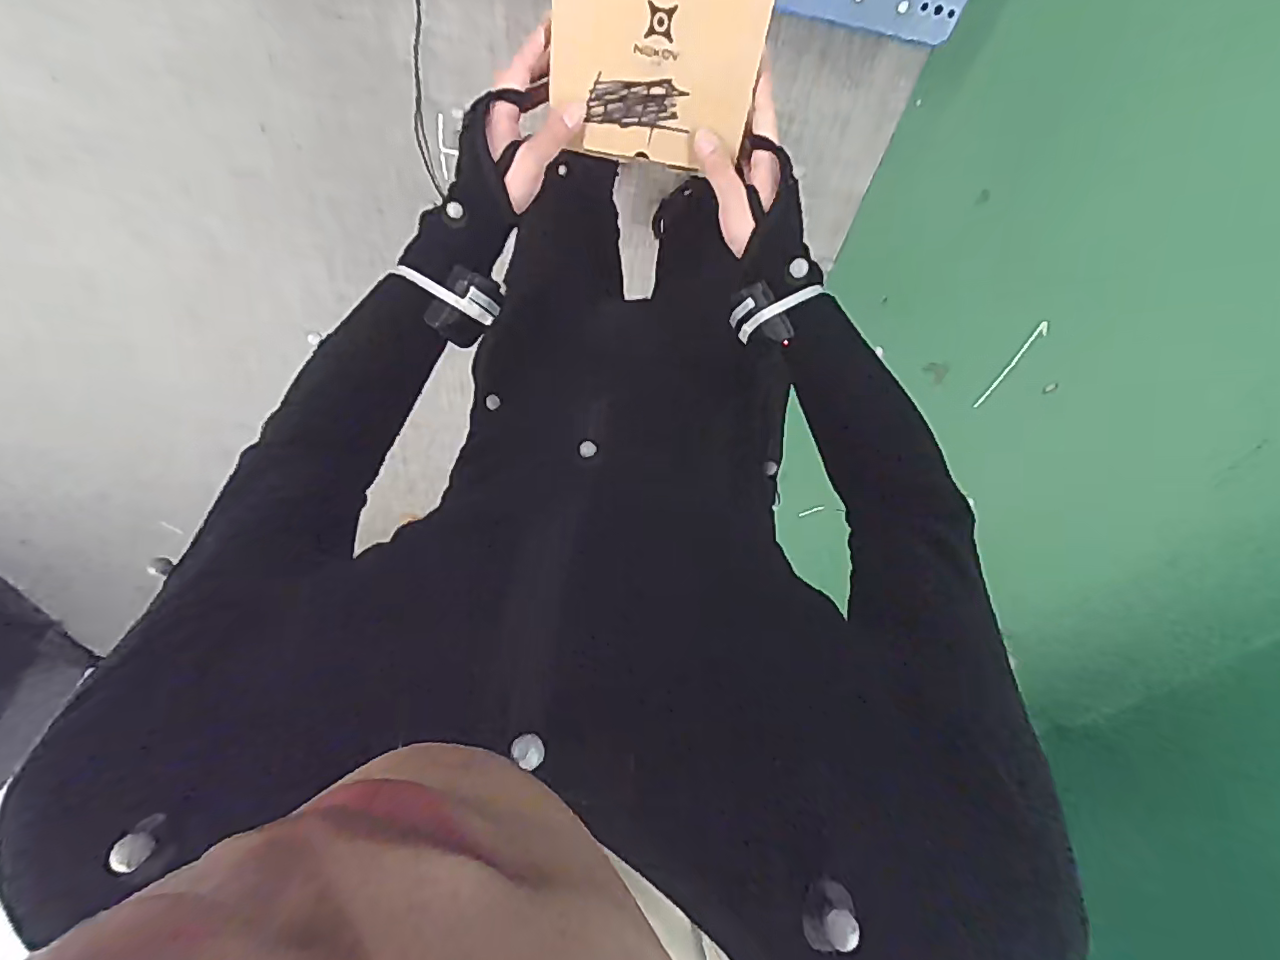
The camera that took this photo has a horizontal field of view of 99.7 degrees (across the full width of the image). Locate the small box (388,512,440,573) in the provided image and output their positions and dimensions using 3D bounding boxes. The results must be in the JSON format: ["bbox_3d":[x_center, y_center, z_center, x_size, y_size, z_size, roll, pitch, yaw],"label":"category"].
[{"bbox_3d":[-0.932,0.260,2.222,0.168,0.176,0.179,14,135,-17],"label":"small box"}]

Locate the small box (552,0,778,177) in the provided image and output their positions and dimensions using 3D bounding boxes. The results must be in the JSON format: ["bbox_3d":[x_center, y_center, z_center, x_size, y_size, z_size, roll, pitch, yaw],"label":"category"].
[{"bbox_3d":[0.023,-0.396,0.474,0.168,0.176,0.179,9,132,-3],"label":"small box"}]
